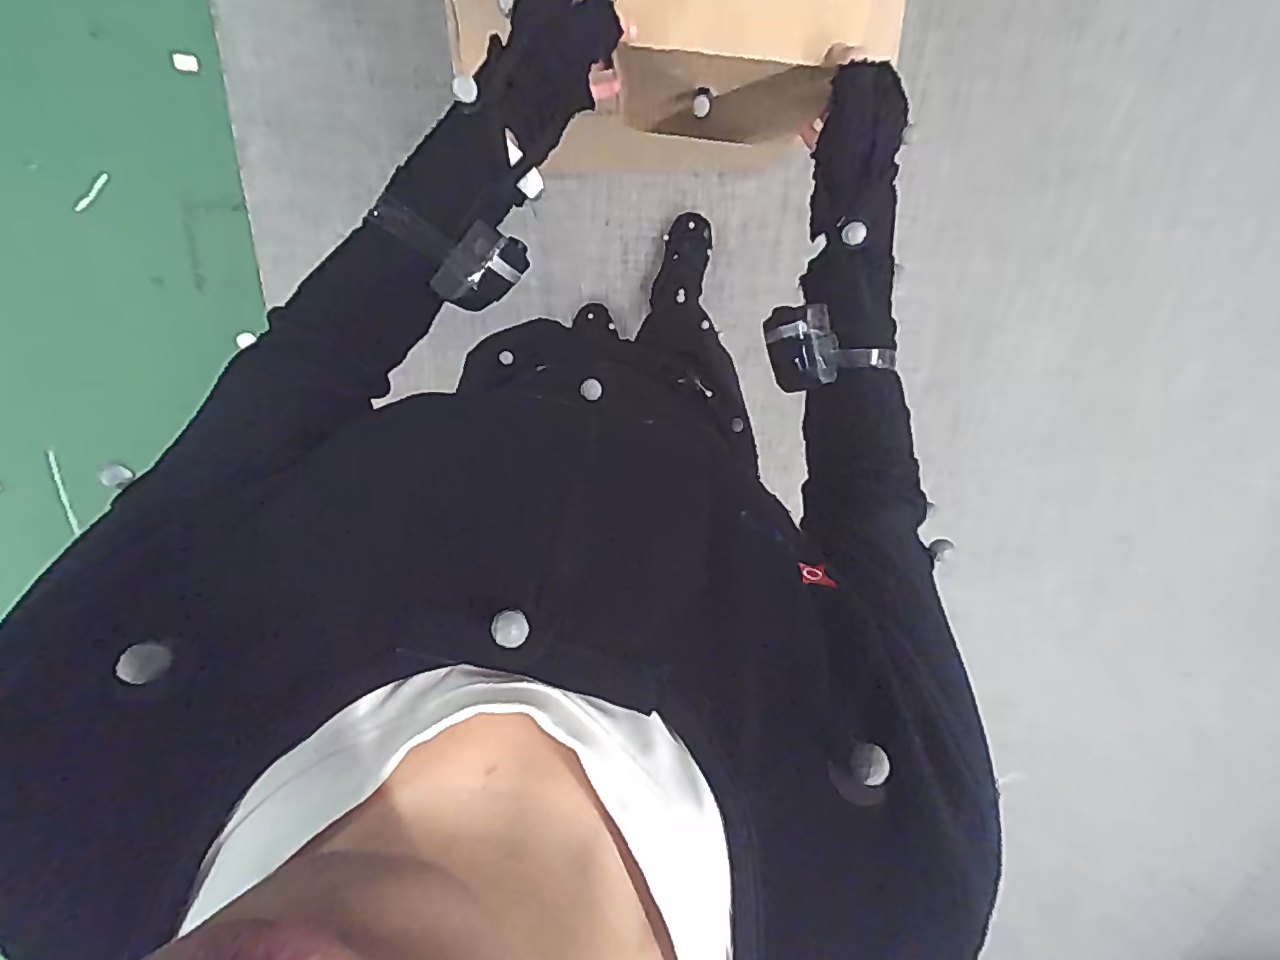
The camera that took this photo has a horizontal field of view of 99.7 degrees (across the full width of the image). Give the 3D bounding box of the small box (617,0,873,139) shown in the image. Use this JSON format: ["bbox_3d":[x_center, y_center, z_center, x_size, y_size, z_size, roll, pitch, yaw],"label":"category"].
[{"bbox_3d":[0.079,-0.399,0.435,0.179,0.176,0.168,6,104,-1],"label":"small box"}]
